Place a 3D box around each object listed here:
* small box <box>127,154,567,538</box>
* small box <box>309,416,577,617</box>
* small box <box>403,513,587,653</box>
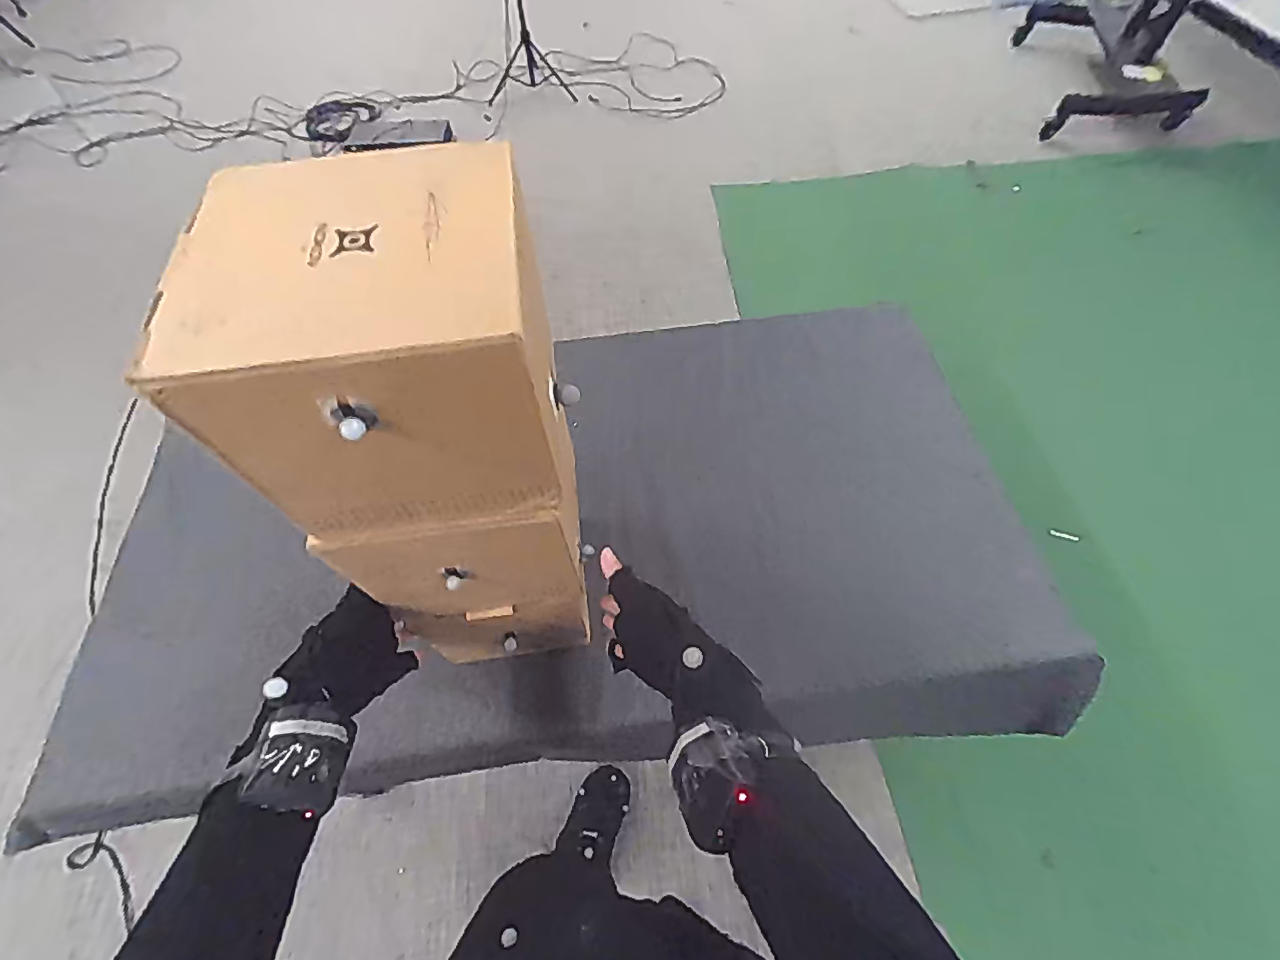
[{"bbox_3d":[-0.149,-0.074,0.349,0.179,0.176,0.168,-7,61,-5],"label":"small box"},{"bbox_3d":[-0.152,0.013,0.485,0.179,0.176,0.168,-7,60,-2],"label":"small box"},{"bbox_3d":[-0.157,0.094,0.628,0.168,0.176,0.179,-8,60,-4],"label":"small box"}]
